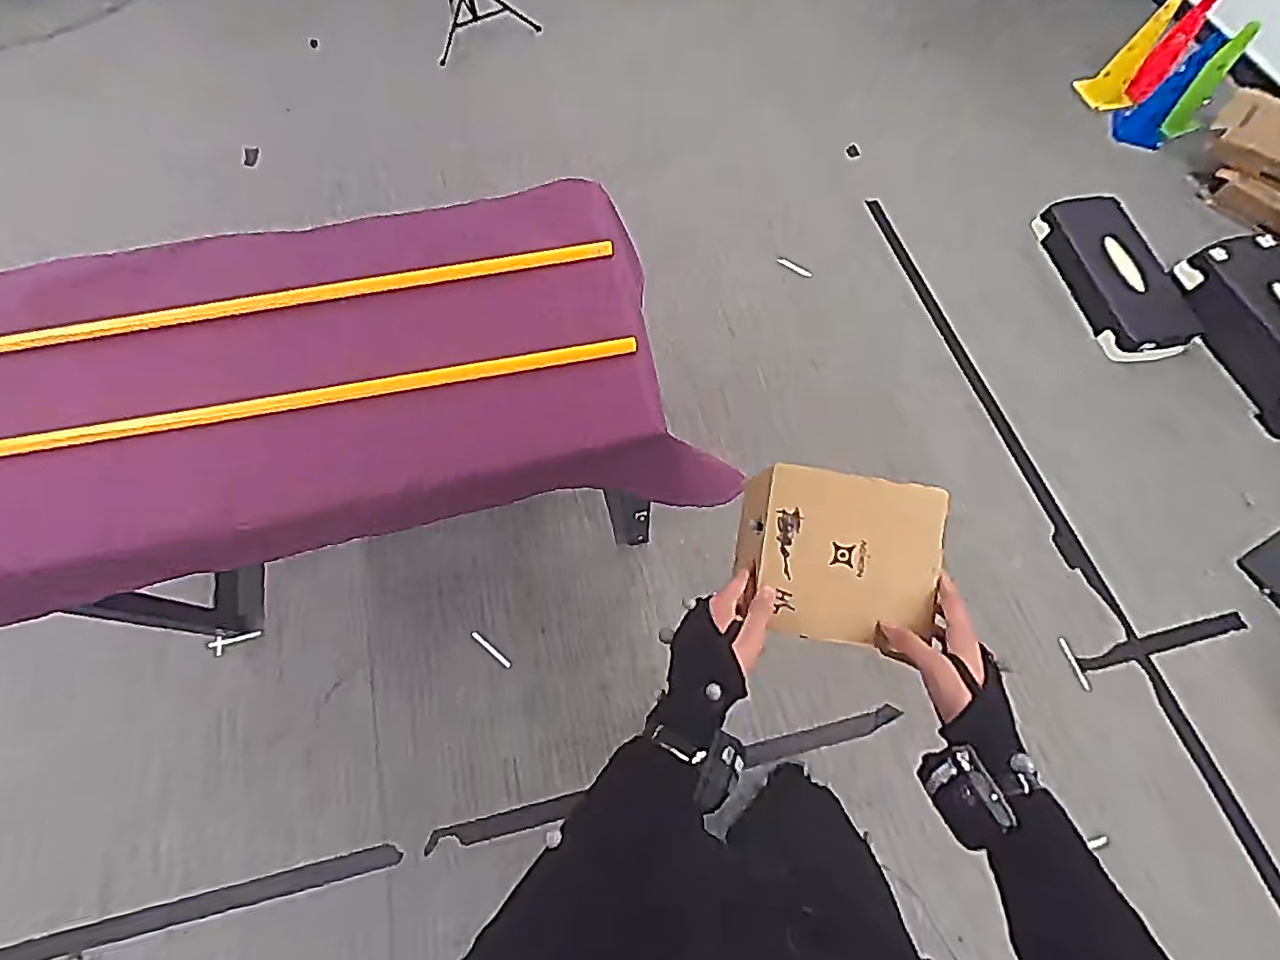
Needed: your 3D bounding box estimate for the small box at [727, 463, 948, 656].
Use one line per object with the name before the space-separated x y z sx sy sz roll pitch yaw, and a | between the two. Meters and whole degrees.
small box | 0.205 0.083 0.604 0.179 0.176 0.168 9 84 2
